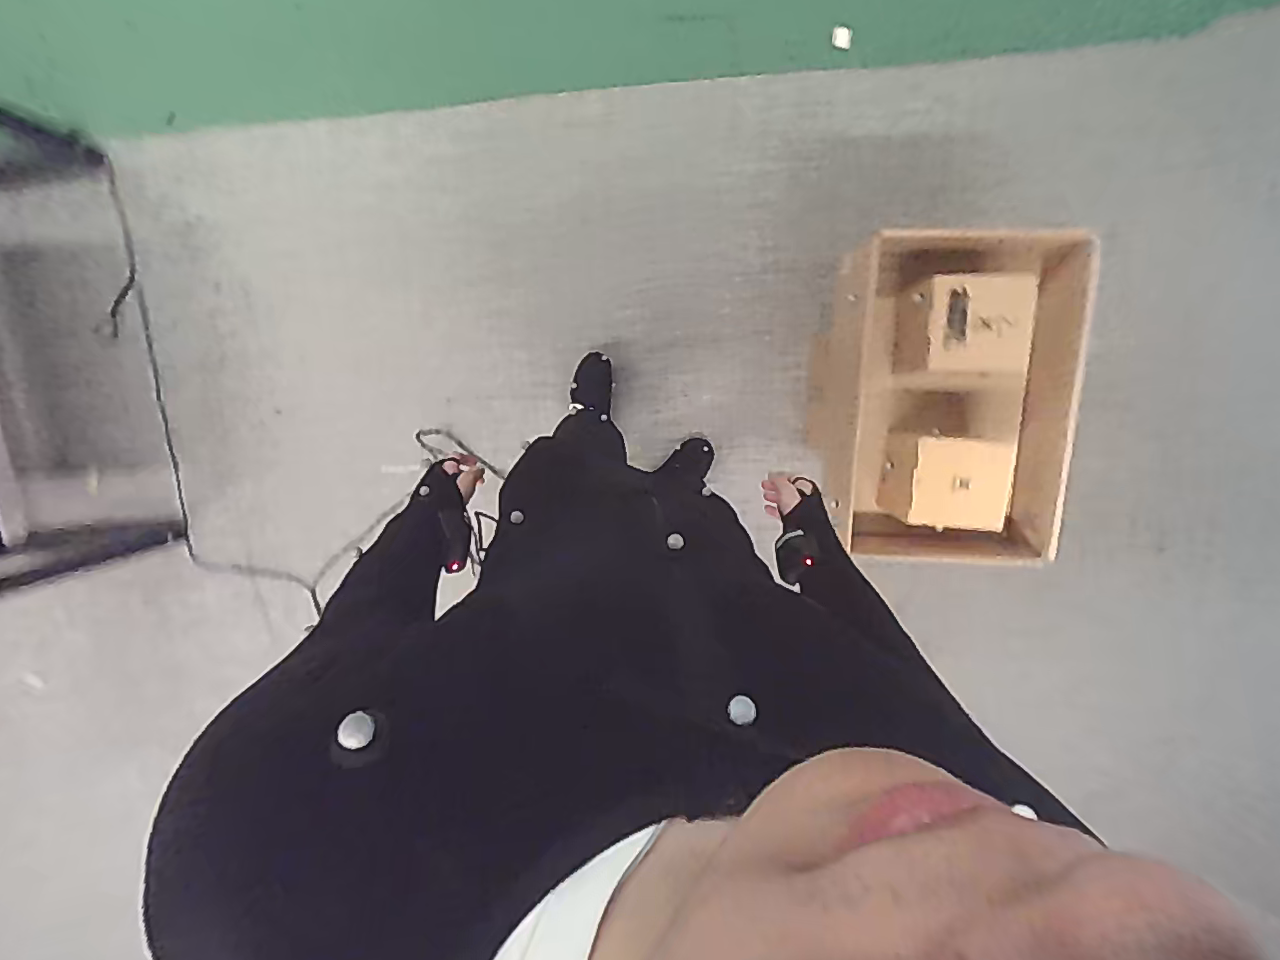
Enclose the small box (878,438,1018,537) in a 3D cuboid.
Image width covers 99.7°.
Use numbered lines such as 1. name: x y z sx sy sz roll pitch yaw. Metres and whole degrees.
1. small box: 0.601 0.007 1.075 0.179 0.176 0.168 4 99 4
